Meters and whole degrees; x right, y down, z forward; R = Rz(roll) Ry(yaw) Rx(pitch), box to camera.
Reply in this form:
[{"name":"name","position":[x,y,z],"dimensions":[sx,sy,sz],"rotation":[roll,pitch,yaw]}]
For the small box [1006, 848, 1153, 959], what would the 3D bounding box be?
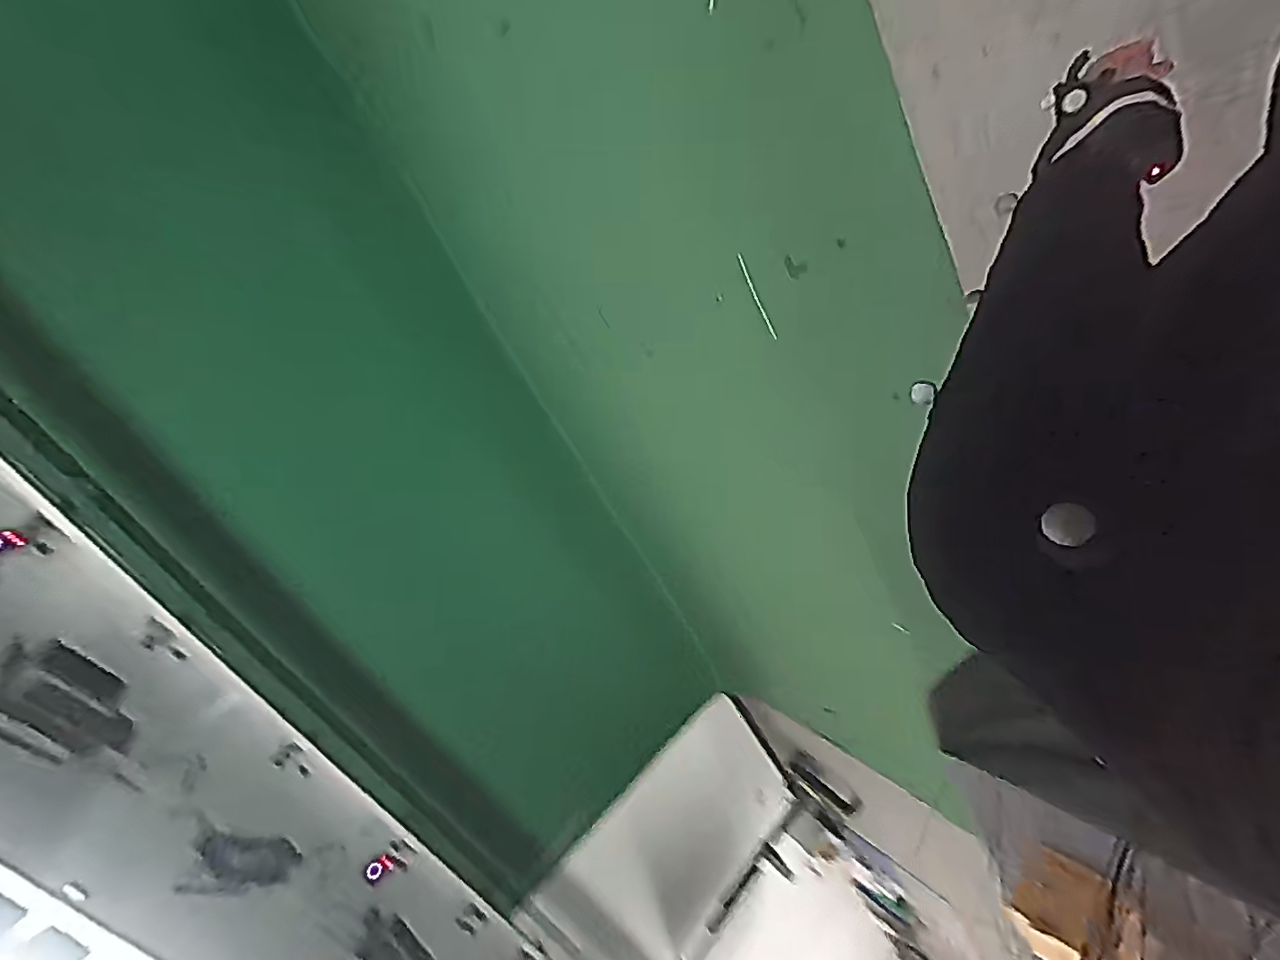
[{"name":"small box","position":[0.922,0.931,1.135],"dimensions":[0.179,0.176,0.168],"rotation":[55,159,-13]}]
